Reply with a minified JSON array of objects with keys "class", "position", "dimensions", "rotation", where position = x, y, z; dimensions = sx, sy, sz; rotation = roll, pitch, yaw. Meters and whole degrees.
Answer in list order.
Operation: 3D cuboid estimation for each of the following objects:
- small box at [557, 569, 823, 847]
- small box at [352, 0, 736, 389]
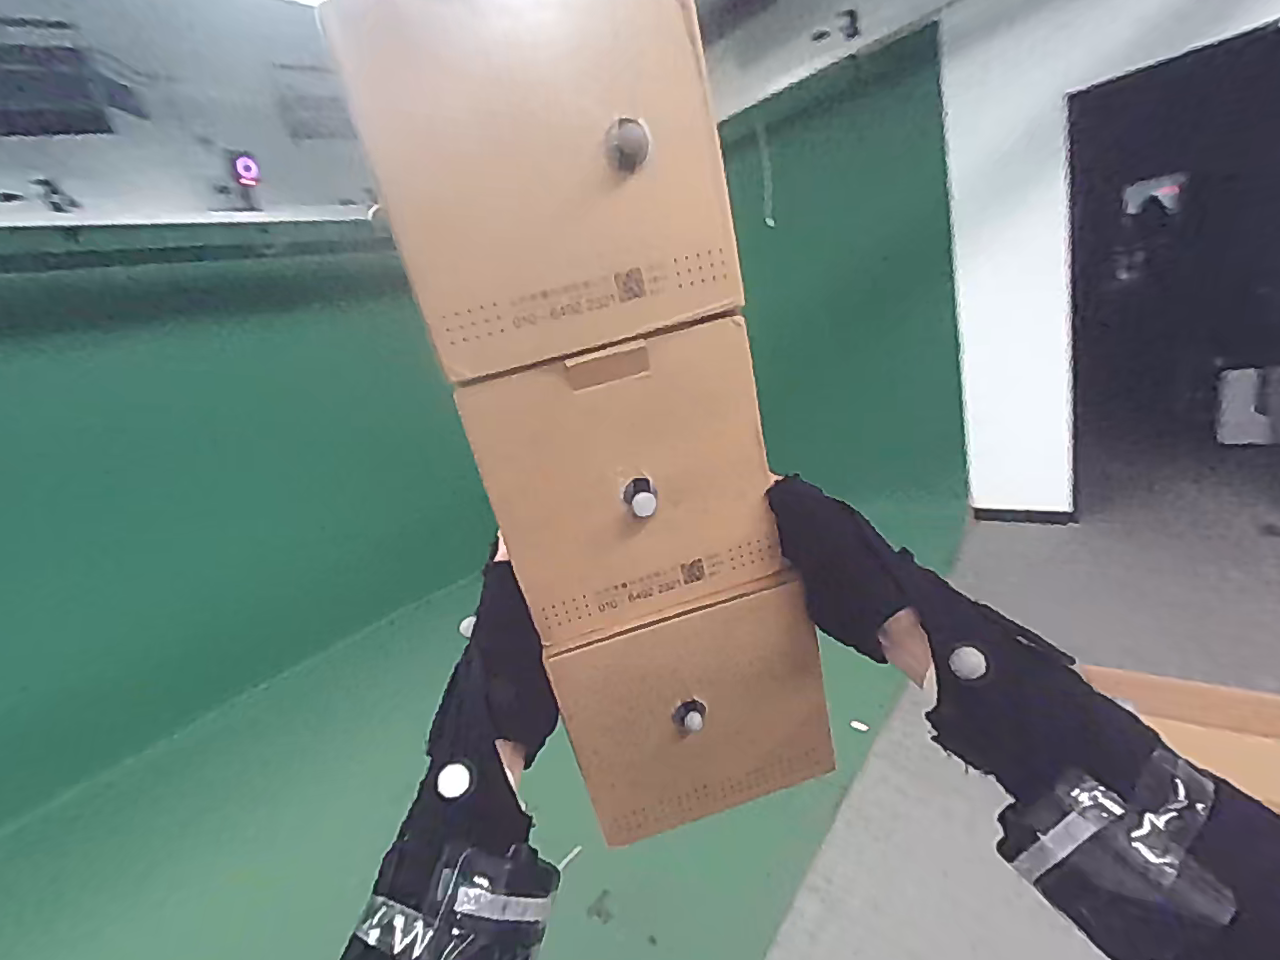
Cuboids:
[{"class":"small box","position":[0.037,0.154,0.451],"dimensions":[0.179,0.176,0.168],"rotation":[-16,18,-4]},{"class":"small box","position":[-0.050,-0.162,0.354],"dimensions":[0.168,0.176,0.179],"rotation":[-15,17,-7]}]
